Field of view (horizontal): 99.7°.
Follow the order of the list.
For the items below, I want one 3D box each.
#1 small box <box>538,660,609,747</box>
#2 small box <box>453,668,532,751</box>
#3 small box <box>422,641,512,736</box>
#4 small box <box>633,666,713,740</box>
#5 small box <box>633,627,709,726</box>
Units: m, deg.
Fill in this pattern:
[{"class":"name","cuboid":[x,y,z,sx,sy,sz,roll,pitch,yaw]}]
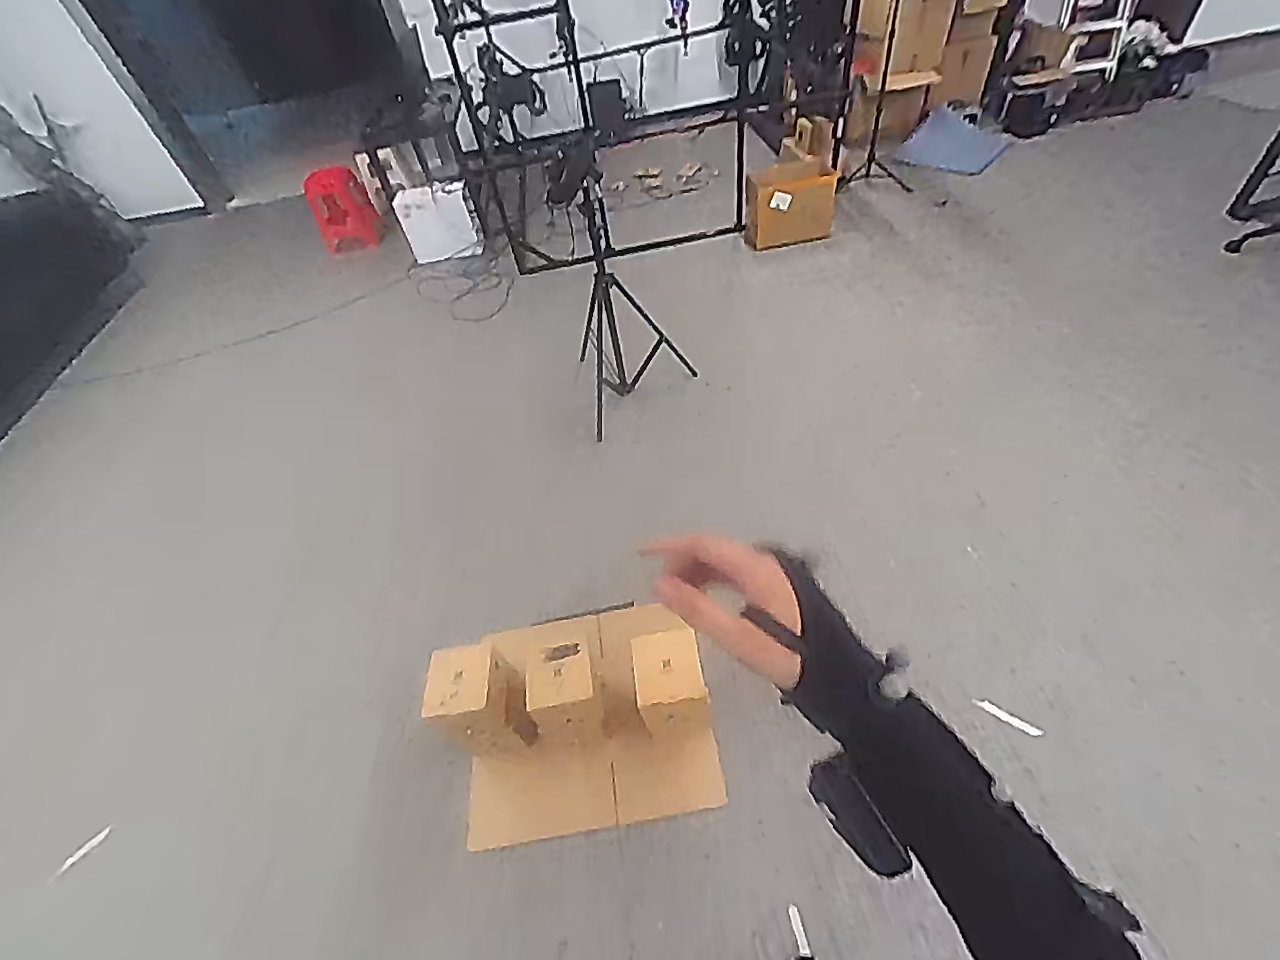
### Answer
[{"class":"small box","cuboid":[-0.183,0.631,1.523,0.168,0.176,0.179,-8,49,3]},{"class":"small box","cuboid":[-0.411,0.659,1.539,0.168,0.176,0.179,-10,49,3]},{"class":"small box","cuboid":[-0.445,0.549,1.421,0.168,0.176,0.179,-9,49,3]},{"class":"small box","cuboid":[0.094,0.598,1.503,0.179,0.176,0.168,-17,49,-5]},{"class":"small box","cuboid":[0.078,0.500,1.373,0.168,0.176,0.179,-10,49,1]}]
